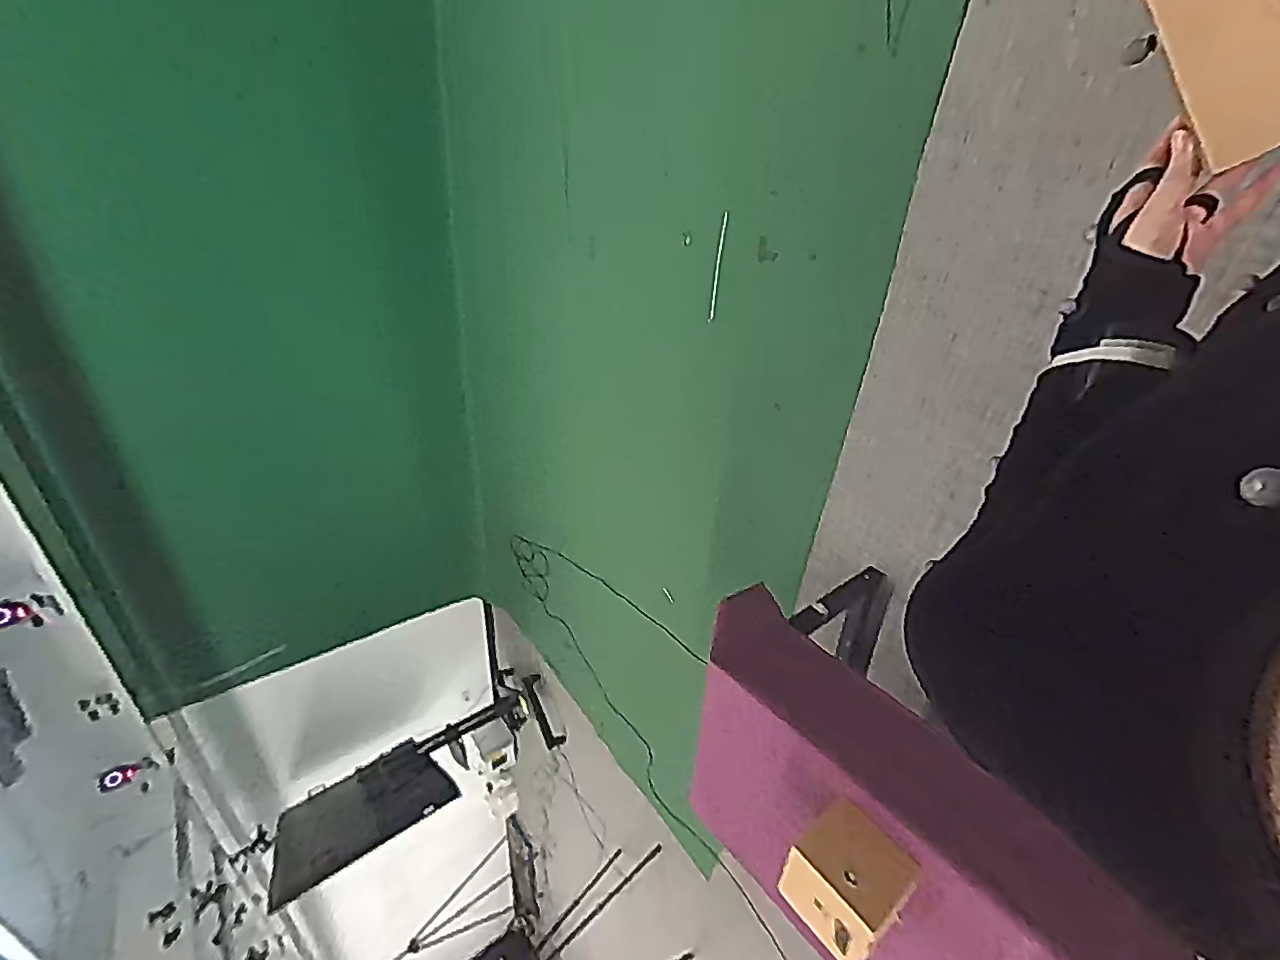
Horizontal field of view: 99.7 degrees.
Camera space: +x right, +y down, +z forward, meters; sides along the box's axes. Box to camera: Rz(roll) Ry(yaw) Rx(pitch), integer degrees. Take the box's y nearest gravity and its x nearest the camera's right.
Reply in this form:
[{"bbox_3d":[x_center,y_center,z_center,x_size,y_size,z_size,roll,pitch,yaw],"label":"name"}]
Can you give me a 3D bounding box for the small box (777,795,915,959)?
[{"bbox_3d":[0.402,0.770,1.057,0.179,0.176,0.168,34,131,43],"label":"small box"}]
